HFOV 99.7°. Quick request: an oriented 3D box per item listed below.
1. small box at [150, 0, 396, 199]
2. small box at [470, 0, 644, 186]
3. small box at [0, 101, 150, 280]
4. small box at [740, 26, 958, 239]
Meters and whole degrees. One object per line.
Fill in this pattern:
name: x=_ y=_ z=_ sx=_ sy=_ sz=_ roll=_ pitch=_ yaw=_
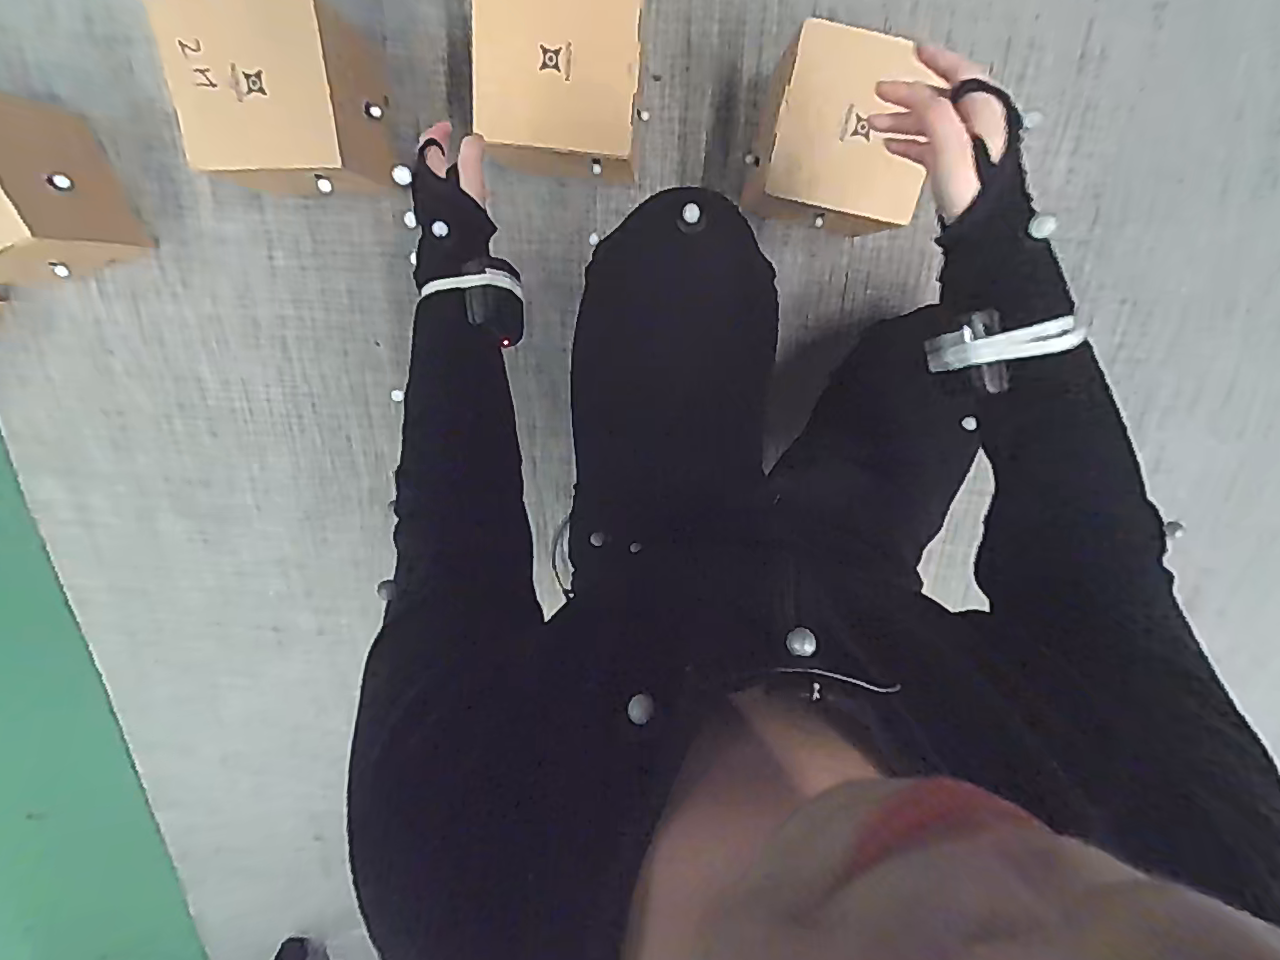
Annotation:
small box: x=-0.415 y=-0.446 z=0.654 sx=0.179 sy=0.176 sz=0.168 roll=0 pitch=109 yaw=1
small box: x=-0.090 y=-0.462 z=0.644 sx=0.179 sy=0.176 sz=0.168 roll=5 pitch=109 yaw=-2
small box: x=-0.804 y=-0.365 z=0.694 sx=0.168 sy=0.176 sz=0.179 roll=-15 pitch=109 yaw=7
small box: x=0.231 y=-0.400 z=0.657 sx=0.179 sy=0.176 sz=0.168 roll=11 pitch=110 yaw=-3
